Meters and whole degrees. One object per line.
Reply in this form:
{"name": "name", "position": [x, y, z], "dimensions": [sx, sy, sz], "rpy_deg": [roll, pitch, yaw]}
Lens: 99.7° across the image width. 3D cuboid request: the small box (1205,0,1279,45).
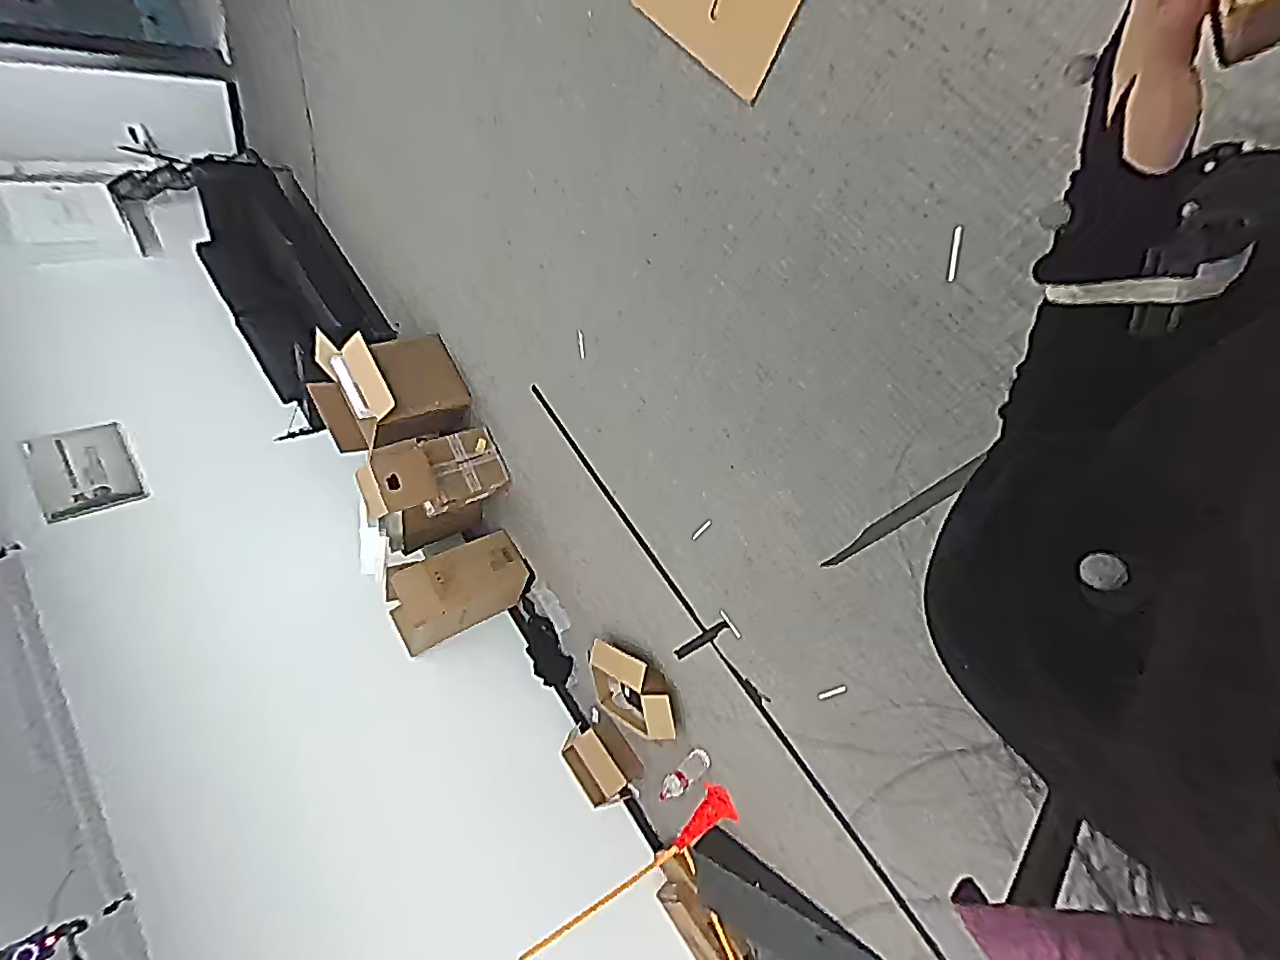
{"name": "small box", "position": [0.287, -0.281, 0.166], "dimensions": [0.179, 0.176, 0.168], "rpy_deg": [-11, 104, 49]}
